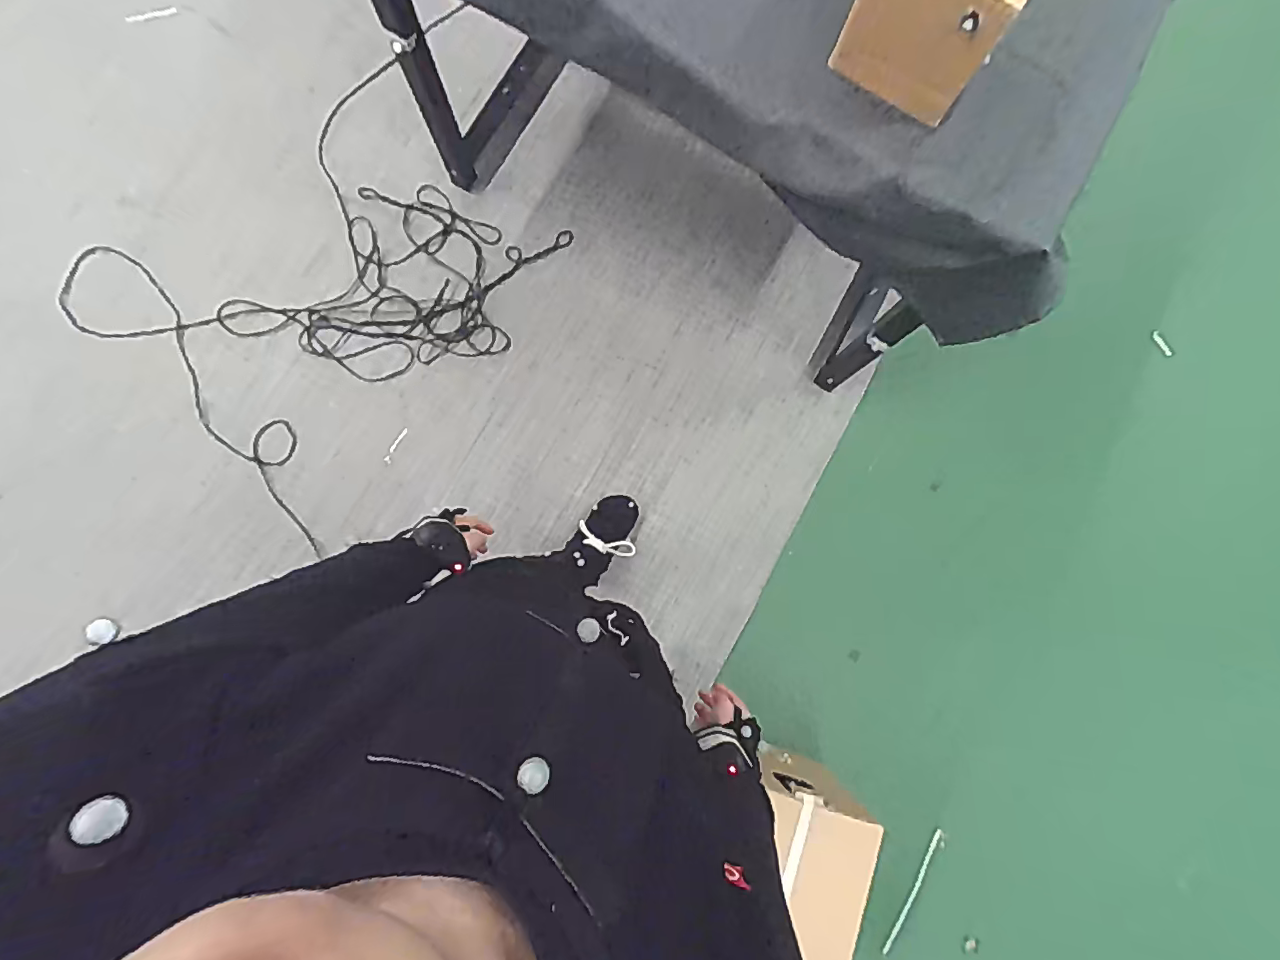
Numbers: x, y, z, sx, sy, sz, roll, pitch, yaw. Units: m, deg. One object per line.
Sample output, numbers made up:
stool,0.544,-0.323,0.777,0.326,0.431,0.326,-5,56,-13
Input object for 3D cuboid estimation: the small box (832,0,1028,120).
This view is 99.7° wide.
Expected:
small box,0.375,-0.604,0.676,0.179,0.176,0.168,31,82,1
